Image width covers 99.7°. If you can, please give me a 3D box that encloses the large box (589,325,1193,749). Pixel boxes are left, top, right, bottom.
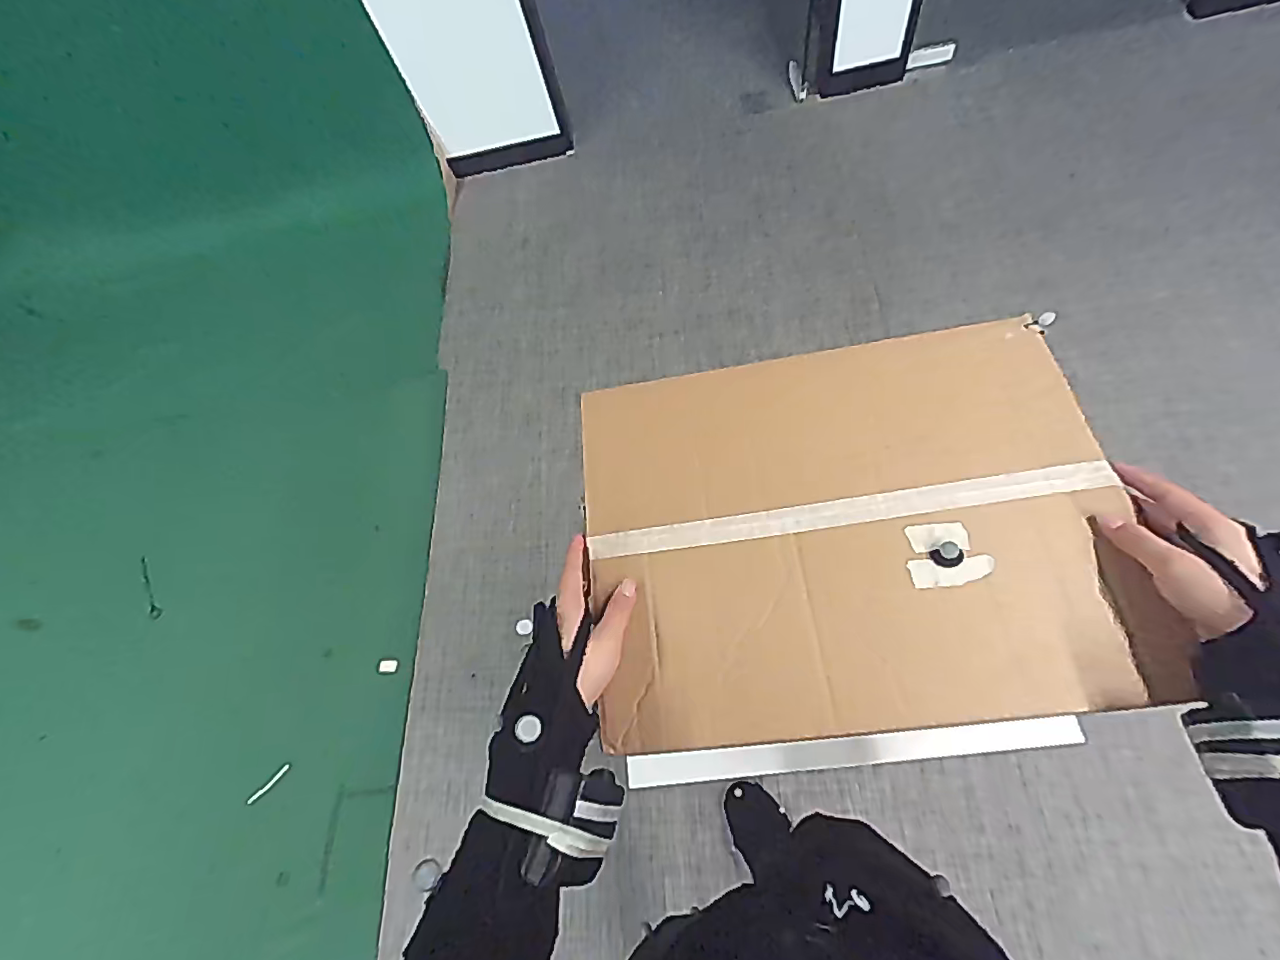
[{"bbox_3d":[0.182,0.089,0.573,0.408,0.320,0.320,-9,65,6],"label":"large box"}]
